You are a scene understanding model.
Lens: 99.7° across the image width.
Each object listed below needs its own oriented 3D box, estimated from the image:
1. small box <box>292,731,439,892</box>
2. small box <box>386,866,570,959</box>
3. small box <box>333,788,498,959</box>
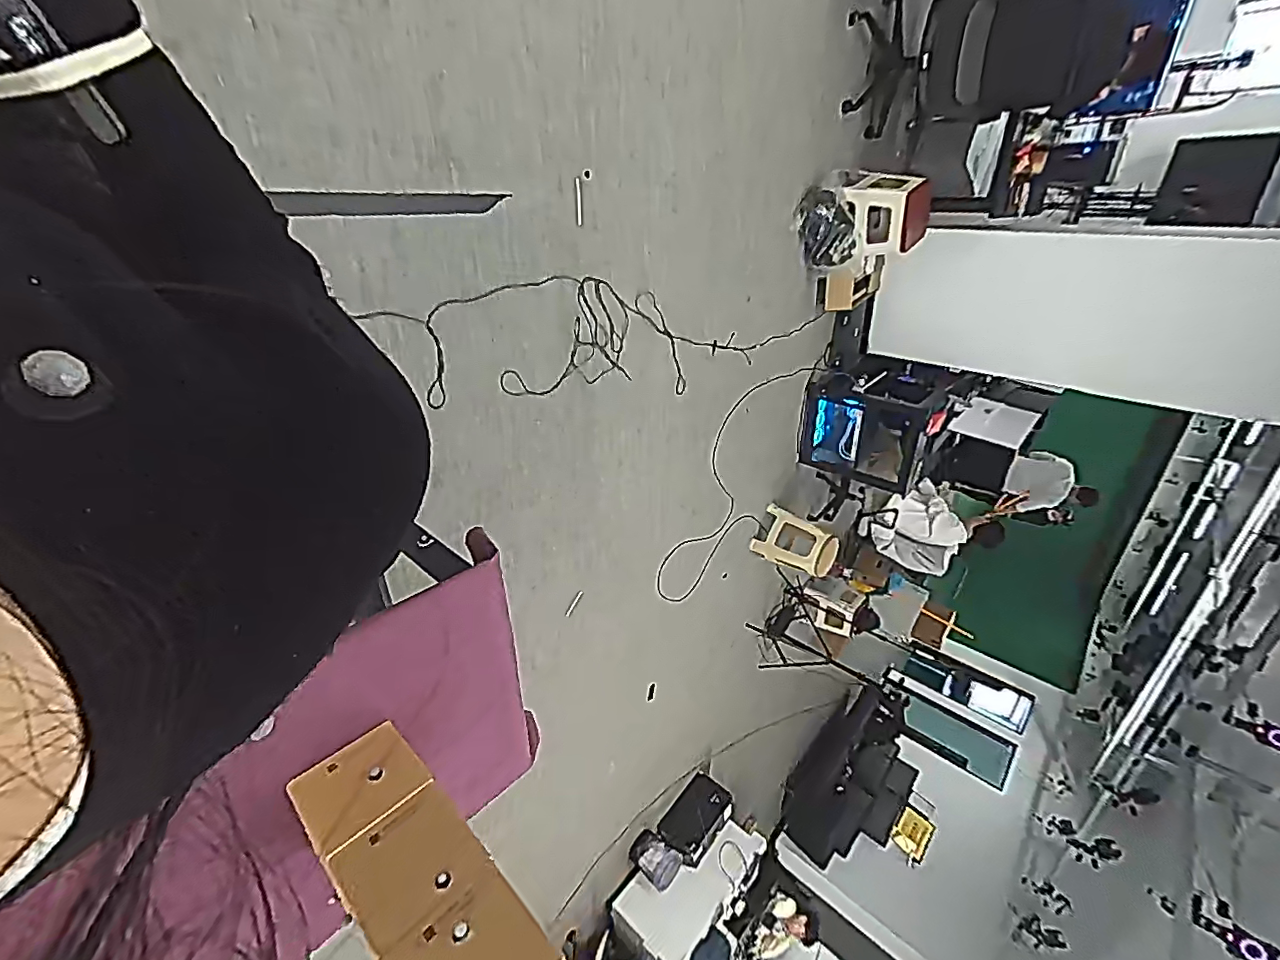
[{"bbox_3d":[-0.443,0.552,0.897,0.168,0.176,0.179,-27,128,-41],"label":"small box"},{"bbox_3d":[-0.203,0.659,0.699,0.168,0.176,0.179,-26,127,-41],"label":"small box"},{"bbox_3d":[-0.322,0.608,0.801,0.168,0.176,0.179,-27,129,-41],"label":"small box"}]
